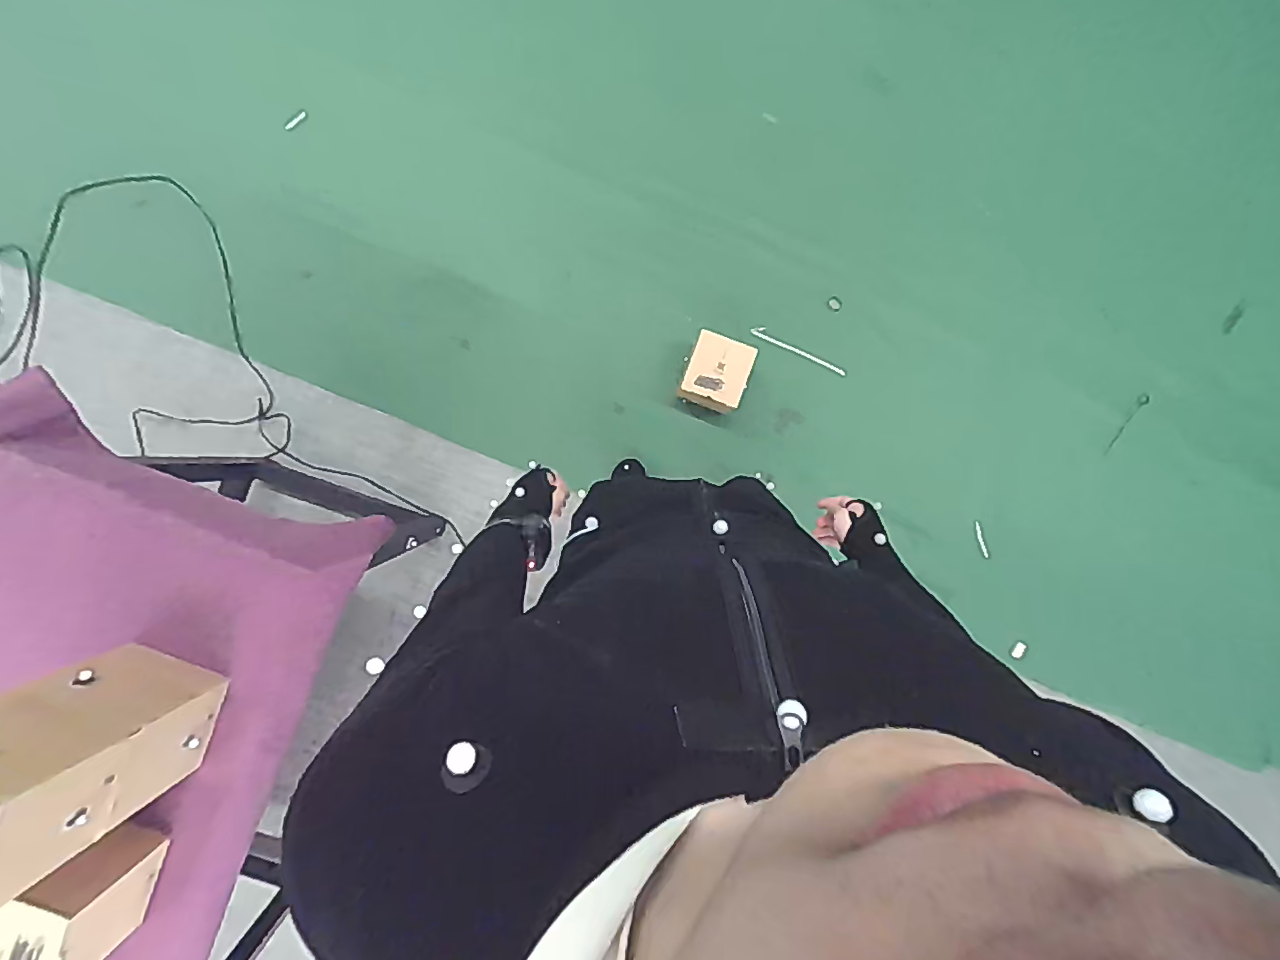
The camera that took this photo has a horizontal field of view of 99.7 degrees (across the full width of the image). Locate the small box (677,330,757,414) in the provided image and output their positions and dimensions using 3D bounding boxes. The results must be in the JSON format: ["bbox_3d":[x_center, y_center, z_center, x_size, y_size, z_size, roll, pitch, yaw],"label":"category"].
[{"bbox_3d":[0.211,-0.299,1.544,0.168,0.176,0.179,20,91,-3],"label":"small box"}]

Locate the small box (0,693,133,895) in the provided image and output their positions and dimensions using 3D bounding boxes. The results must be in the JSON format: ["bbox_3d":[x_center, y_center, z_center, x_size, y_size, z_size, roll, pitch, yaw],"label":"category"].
[{"bbox_3d":[-0.784,0.381,0.644,0.179,0.176,0.168,21,91,-2],"label":"small box"}]

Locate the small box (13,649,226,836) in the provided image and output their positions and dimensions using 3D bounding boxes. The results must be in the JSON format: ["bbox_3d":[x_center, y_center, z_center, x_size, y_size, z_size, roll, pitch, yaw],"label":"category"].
[{"bbox_3d":[-0.784,0.374,0.807,0.179,0.176,0.168,22,92,-2],"label":"small box"}]
